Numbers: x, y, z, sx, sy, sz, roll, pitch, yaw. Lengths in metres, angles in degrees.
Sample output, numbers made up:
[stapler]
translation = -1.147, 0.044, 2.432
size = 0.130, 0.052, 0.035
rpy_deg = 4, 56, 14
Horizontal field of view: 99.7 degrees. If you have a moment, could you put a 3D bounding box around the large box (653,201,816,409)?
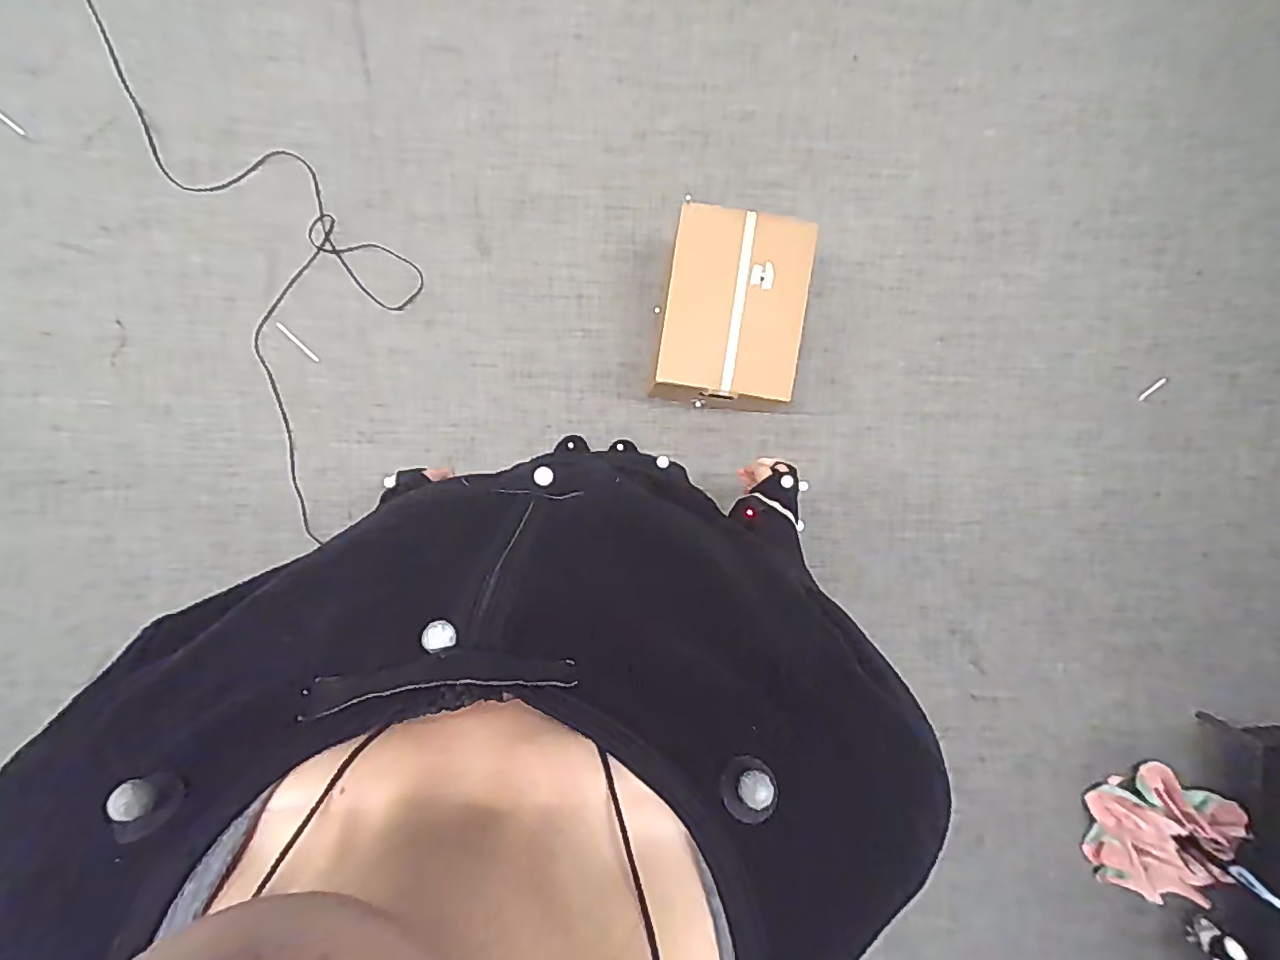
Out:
[large box]
translation = 0.213, -0.407, 1.357
size = 0.320, 0.320, 0.408
rpy_deg = 8, 92, -3
